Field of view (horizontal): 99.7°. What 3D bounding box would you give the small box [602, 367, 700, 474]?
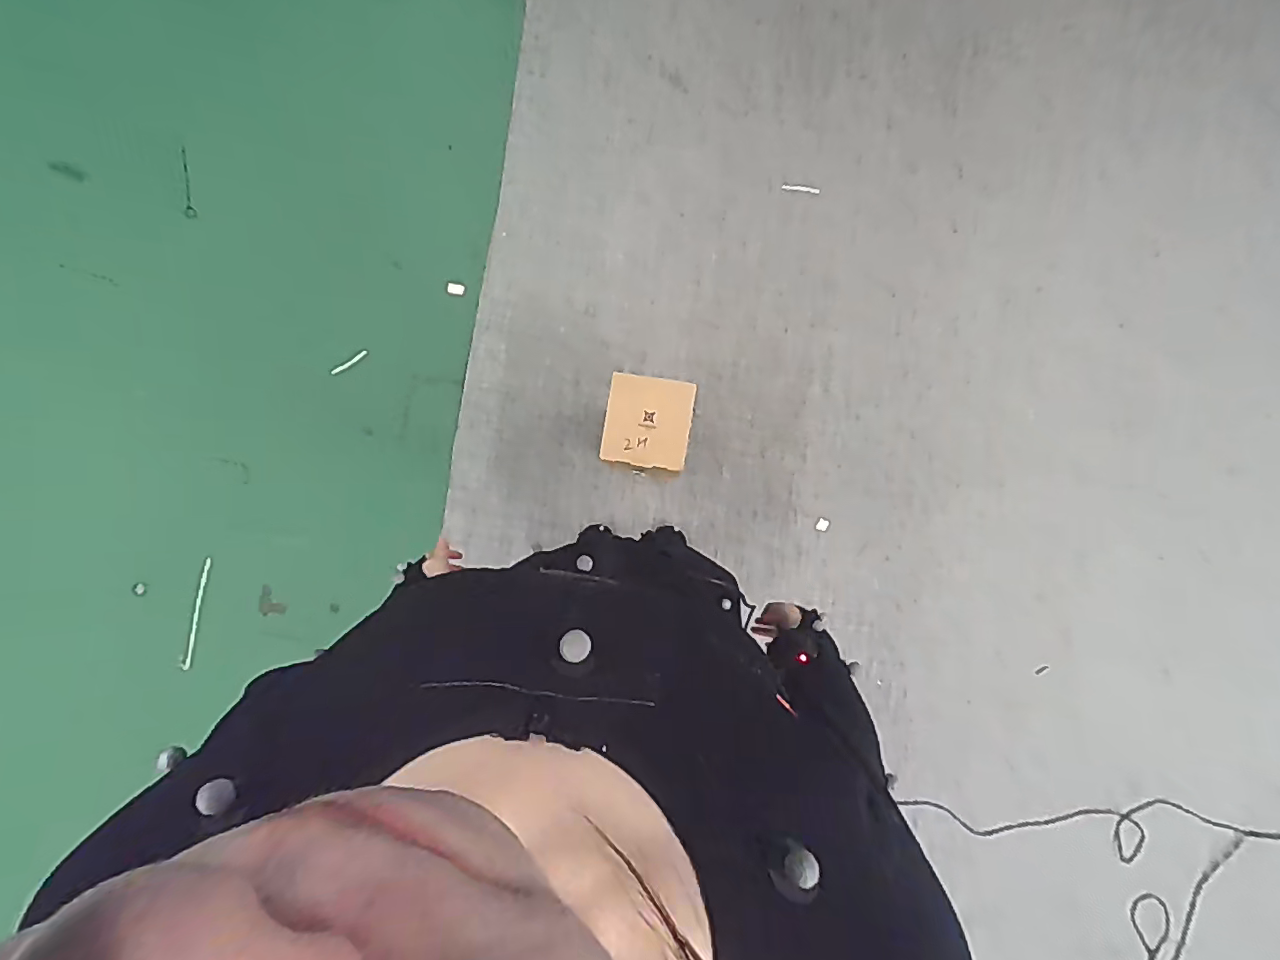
[{"bbox_3d":[0.023,-0.115,1.107,0.168,0.176,0.179,9,87,4],"label":"small box"}]
